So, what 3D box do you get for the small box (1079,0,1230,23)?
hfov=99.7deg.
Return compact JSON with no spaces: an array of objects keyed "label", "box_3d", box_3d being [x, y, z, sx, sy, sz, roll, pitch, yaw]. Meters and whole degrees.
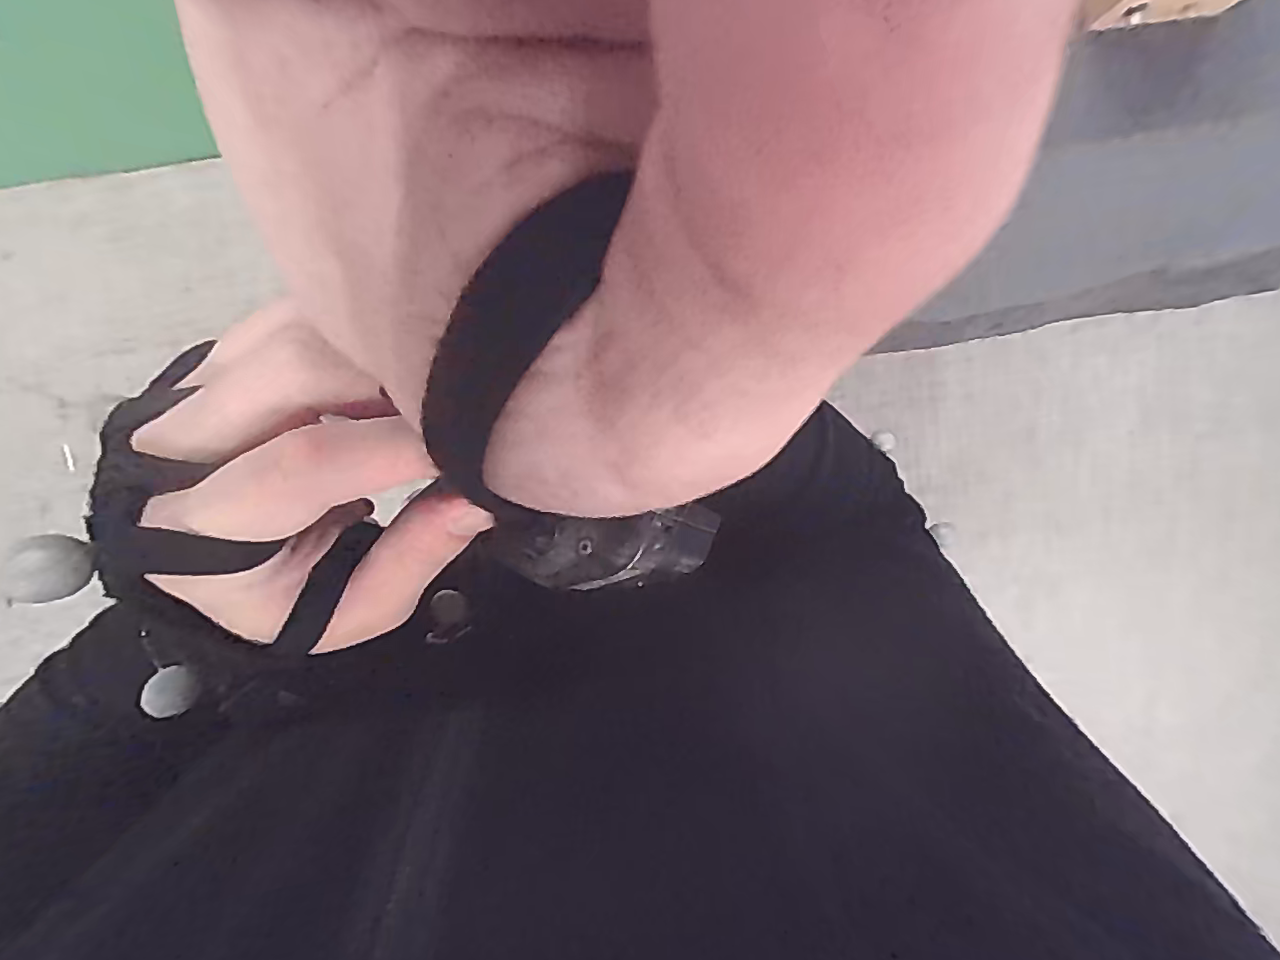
[{"label":"small box","box_3d":[0.574,-0.595,0.531,0.168,0.176,0.179,-9,98,-2]}]
